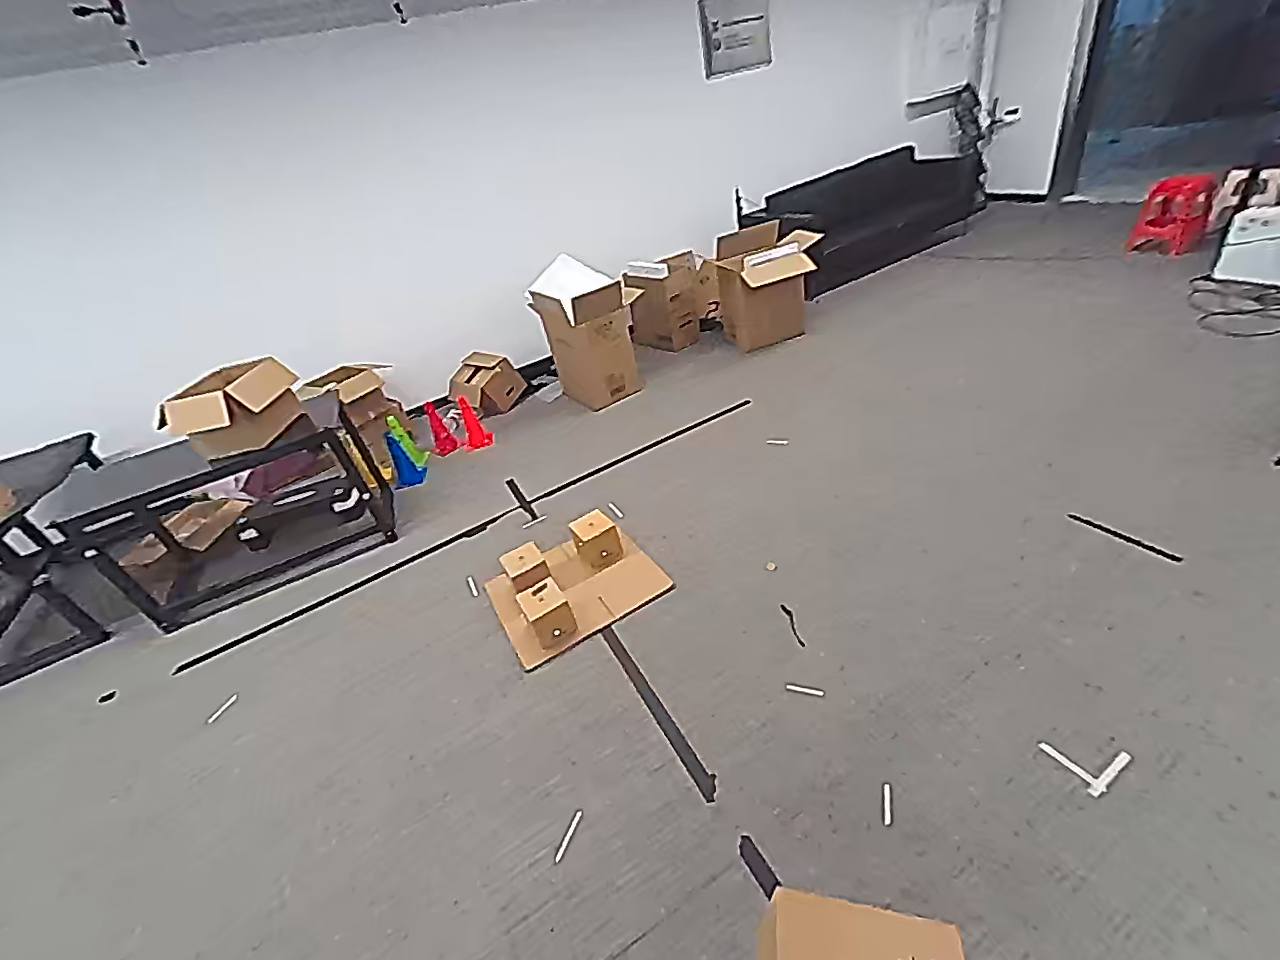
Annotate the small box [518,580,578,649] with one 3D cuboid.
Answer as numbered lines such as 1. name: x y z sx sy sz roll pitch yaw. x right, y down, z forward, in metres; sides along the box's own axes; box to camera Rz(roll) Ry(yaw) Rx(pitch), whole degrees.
1. small box: -0.373 0.548 2.196 0.168 0.176 0.179 -28 36 -19

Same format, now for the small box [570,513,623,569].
1. small box: -0.203 0.287 2.533 0.168 0.176 0.179 -29 36 -22

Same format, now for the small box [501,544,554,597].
1. small box: -0.497 0.426 2.422 0.168 0.176 0.179 -27 36 -19
